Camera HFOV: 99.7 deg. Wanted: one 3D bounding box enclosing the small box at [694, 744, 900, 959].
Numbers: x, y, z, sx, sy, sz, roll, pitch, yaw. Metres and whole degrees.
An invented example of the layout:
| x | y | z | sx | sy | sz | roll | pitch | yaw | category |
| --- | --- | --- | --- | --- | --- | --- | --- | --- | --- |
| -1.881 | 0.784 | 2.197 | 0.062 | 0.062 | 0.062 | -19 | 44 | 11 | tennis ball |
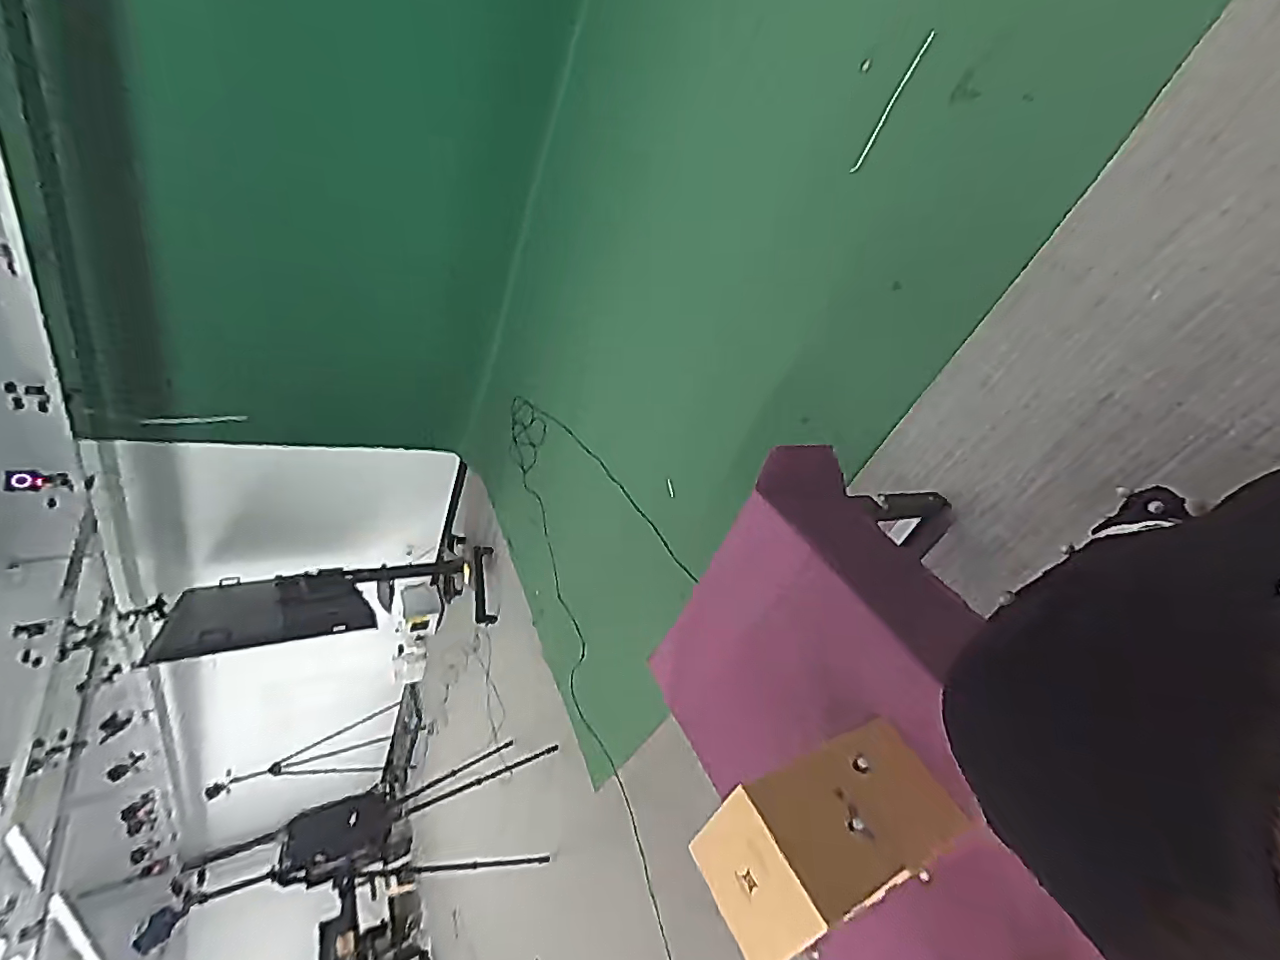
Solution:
| x | y | z | sx | sy | sz | roll | pitch | yaw | category |
| --- | --- | --- | --- | --- | --- | --- | --- | --- | --- |
| 0.209 | 0.496 | 0.732 | 0.168 | 0.176 | 0.179 | 52 | 130 | 40 | small box |

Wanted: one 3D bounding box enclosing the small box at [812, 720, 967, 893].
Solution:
| x | y | z | sx | sy | sz | roll | pitch | yaw | category |
| --- | --- | --- | --- | --- | --- | --- | --- | --- | --- |
| 0.344 | 0.491 | 0.824 | 0.179 | 0.176 | 0.168 | 54 | 133 | 40 | small box |
